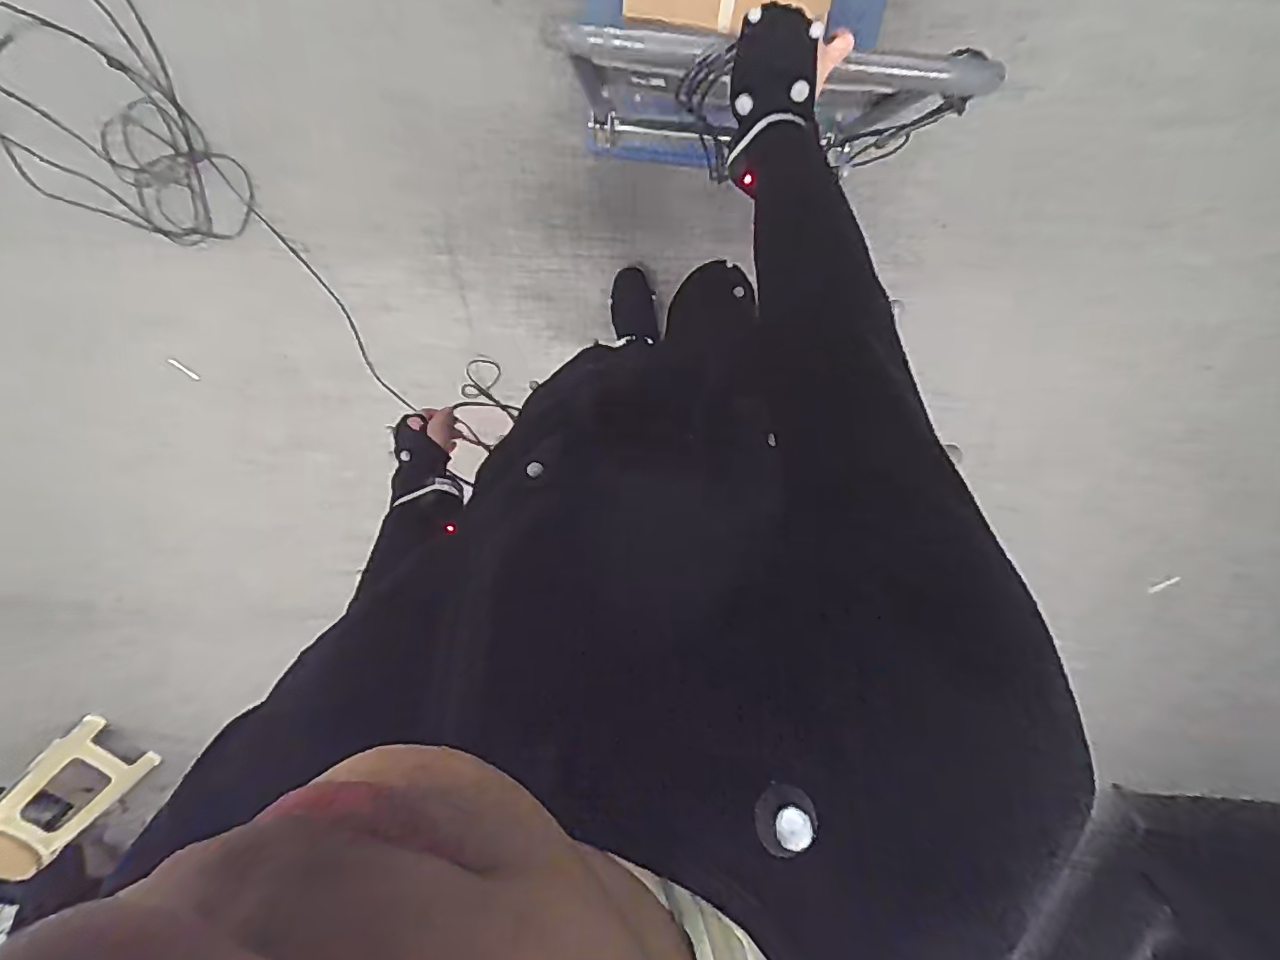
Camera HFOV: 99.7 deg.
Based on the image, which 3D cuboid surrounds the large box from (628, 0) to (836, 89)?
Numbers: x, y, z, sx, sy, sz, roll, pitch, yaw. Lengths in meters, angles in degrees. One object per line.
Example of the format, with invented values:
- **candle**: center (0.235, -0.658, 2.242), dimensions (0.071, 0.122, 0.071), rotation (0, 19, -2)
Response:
- **large box**: center (0.166, -0.923, 0.874), dimensions (0.320, 0.320, 0.408), rotation (9, 115, -1)
